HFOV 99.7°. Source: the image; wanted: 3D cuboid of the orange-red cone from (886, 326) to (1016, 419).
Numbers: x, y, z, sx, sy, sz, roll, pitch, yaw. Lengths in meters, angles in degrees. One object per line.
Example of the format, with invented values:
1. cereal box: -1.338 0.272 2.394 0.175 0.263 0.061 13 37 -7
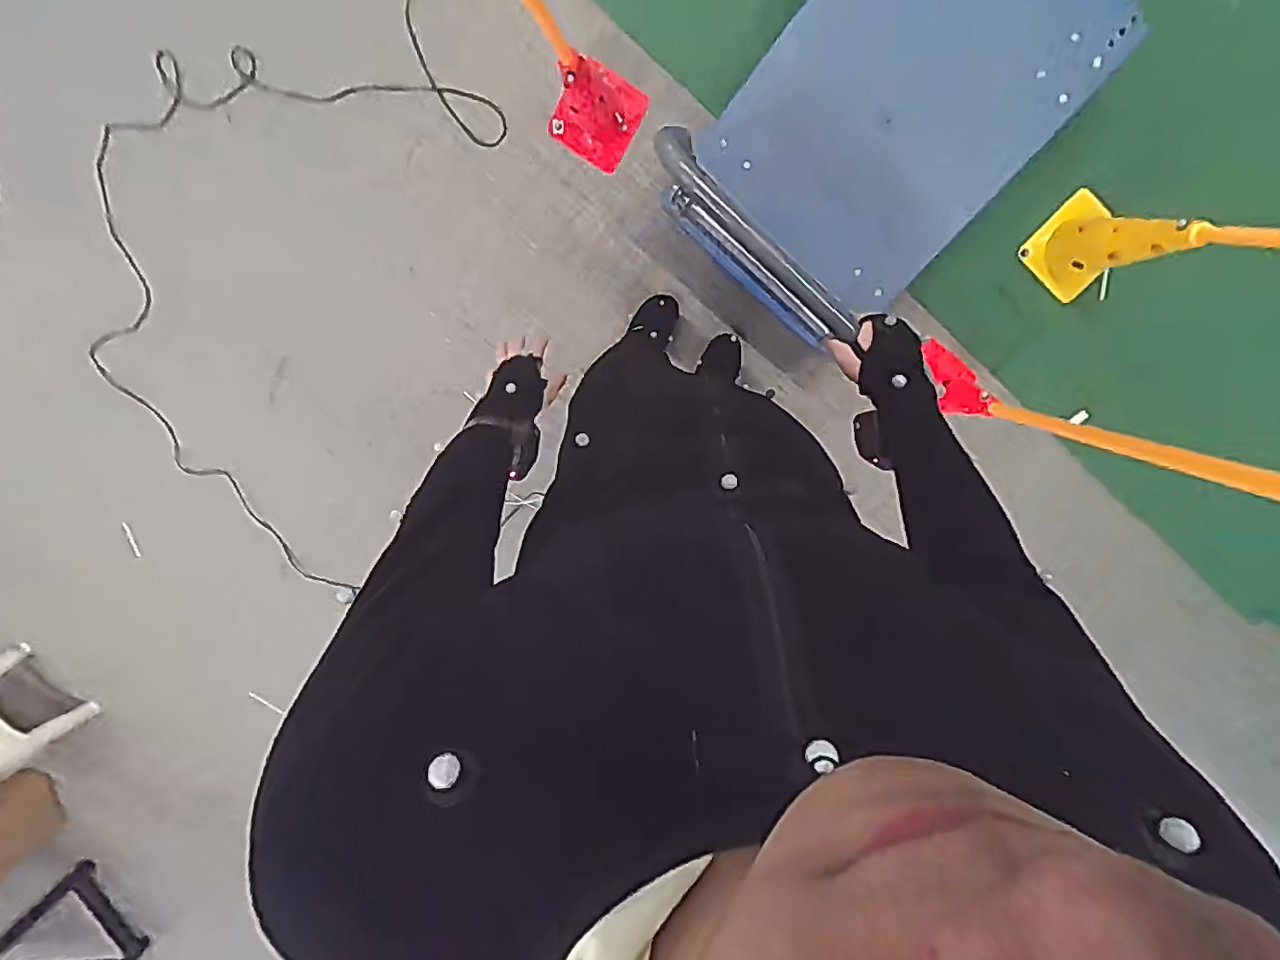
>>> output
1. orange-red cone: 0.782 -0.235 1.296 0.198 0.360 0.199 36 107 -8
